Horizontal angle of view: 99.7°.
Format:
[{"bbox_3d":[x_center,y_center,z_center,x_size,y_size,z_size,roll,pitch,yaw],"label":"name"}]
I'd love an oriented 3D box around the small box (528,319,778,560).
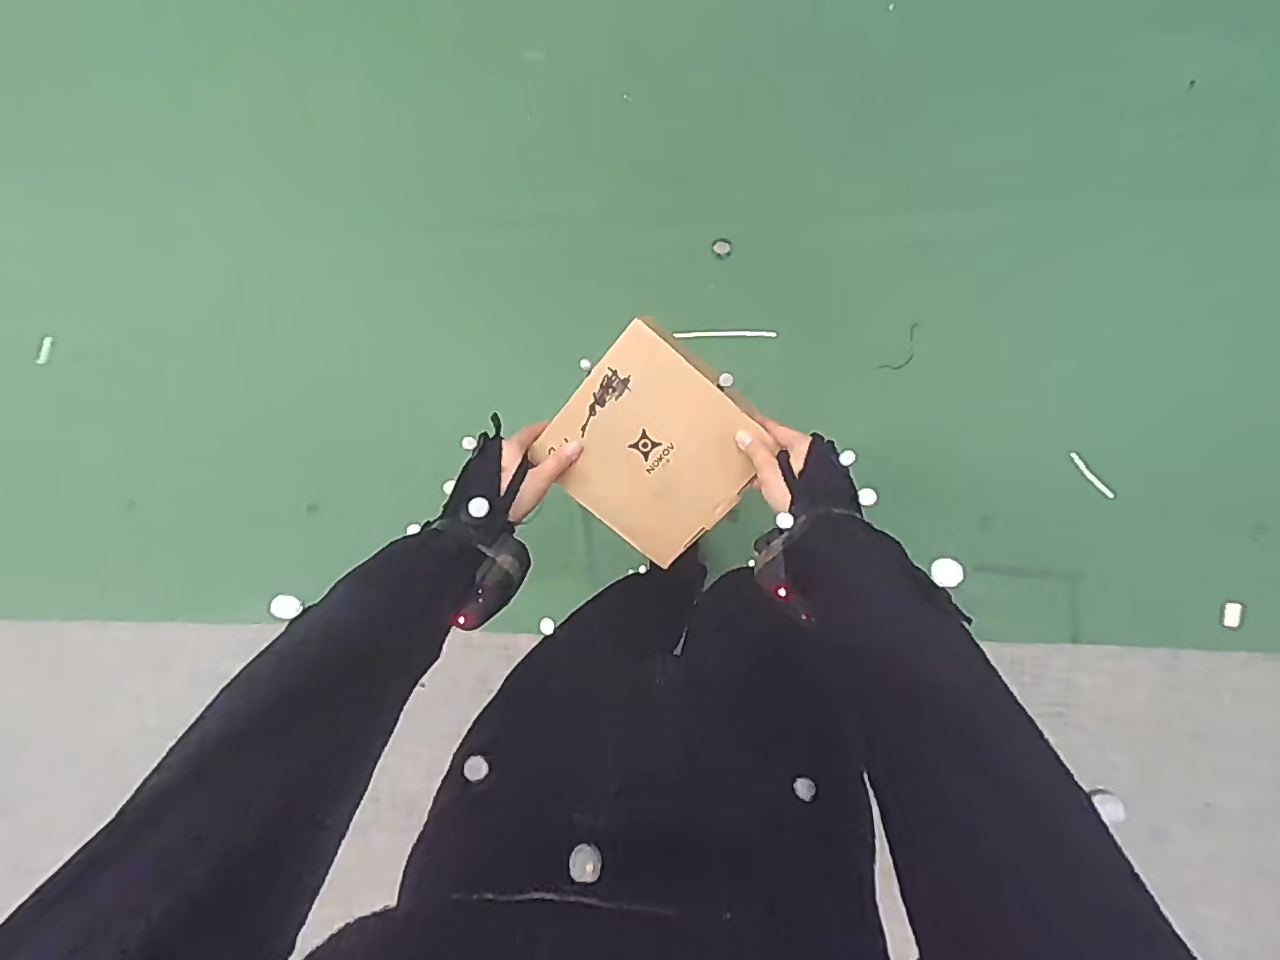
[{"bbox_3d":[0.016,-0.055,0.573,0.179,0.176,0.168,40,106,-8],"label":"small box"}]
